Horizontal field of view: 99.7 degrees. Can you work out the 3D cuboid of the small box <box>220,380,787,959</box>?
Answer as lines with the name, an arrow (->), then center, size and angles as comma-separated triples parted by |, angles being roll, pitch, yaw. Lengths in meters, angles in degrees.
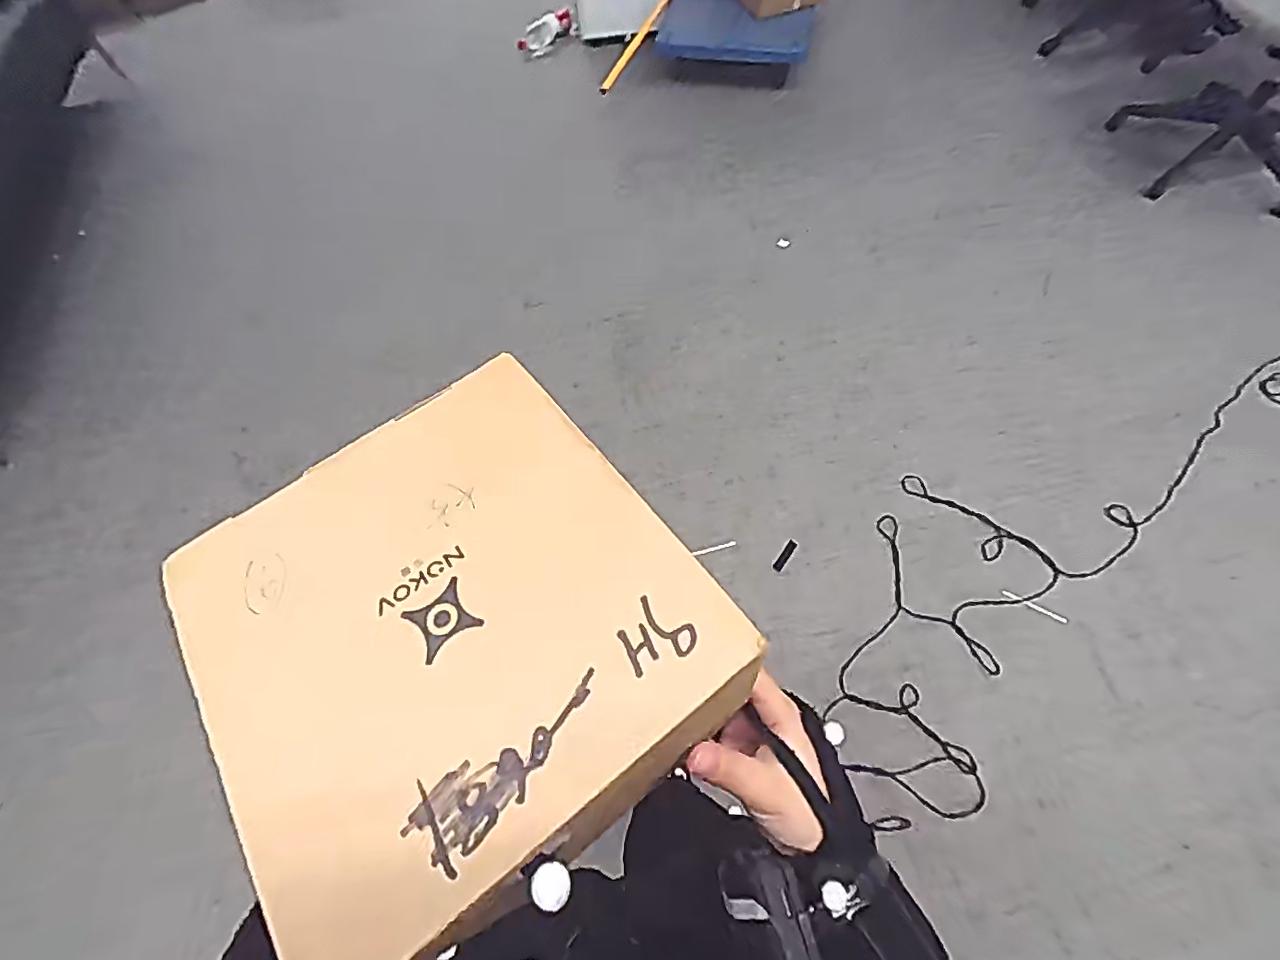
small box -> -0.054, 0.091, 0.275 | 0.168, 0.176, 0.179 | -36, 62, -12
